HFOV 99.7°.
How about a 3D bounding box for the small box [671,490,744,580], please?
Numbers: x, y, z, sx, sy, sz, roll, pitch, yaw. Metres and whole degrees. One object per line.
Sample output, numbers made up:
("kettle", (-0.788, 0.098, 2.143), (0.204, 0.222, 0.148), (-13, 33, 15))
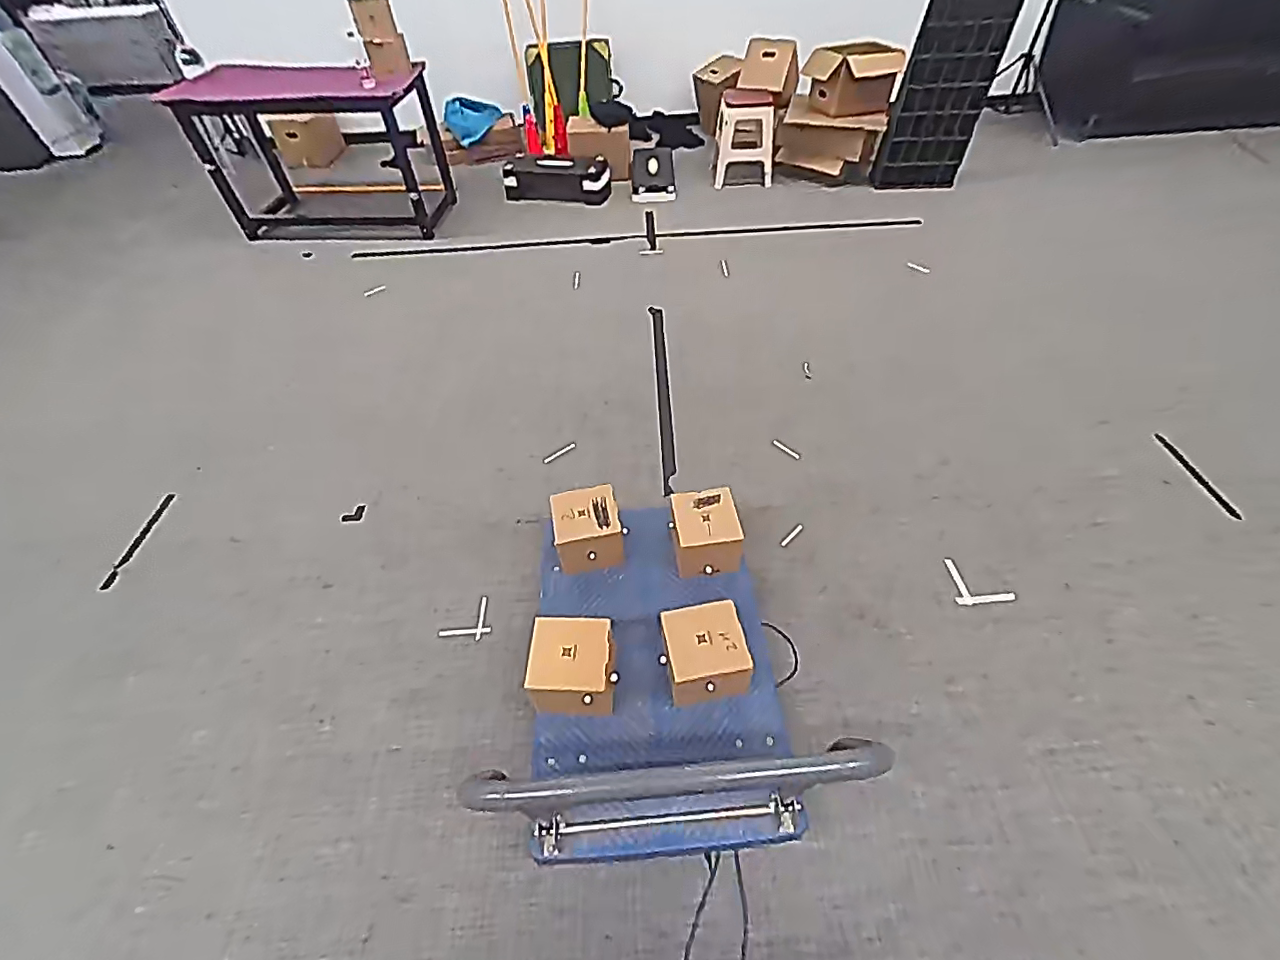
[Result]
("small box", (0.179, 0.152, 1.489), (0.168, 0.176, 0.179), (-7, 51, -3))

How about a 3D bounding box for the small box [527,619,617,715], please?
("small box", (-0.151, 0.439, 1.264), (0.179, 0.176, 0.168), (1, 49, 2))

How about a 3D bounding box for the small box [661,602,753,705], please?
("small box", (0.152, 0.411, 1.270), (0.179, 0.176, 0.168), (-9, 50, -5))
